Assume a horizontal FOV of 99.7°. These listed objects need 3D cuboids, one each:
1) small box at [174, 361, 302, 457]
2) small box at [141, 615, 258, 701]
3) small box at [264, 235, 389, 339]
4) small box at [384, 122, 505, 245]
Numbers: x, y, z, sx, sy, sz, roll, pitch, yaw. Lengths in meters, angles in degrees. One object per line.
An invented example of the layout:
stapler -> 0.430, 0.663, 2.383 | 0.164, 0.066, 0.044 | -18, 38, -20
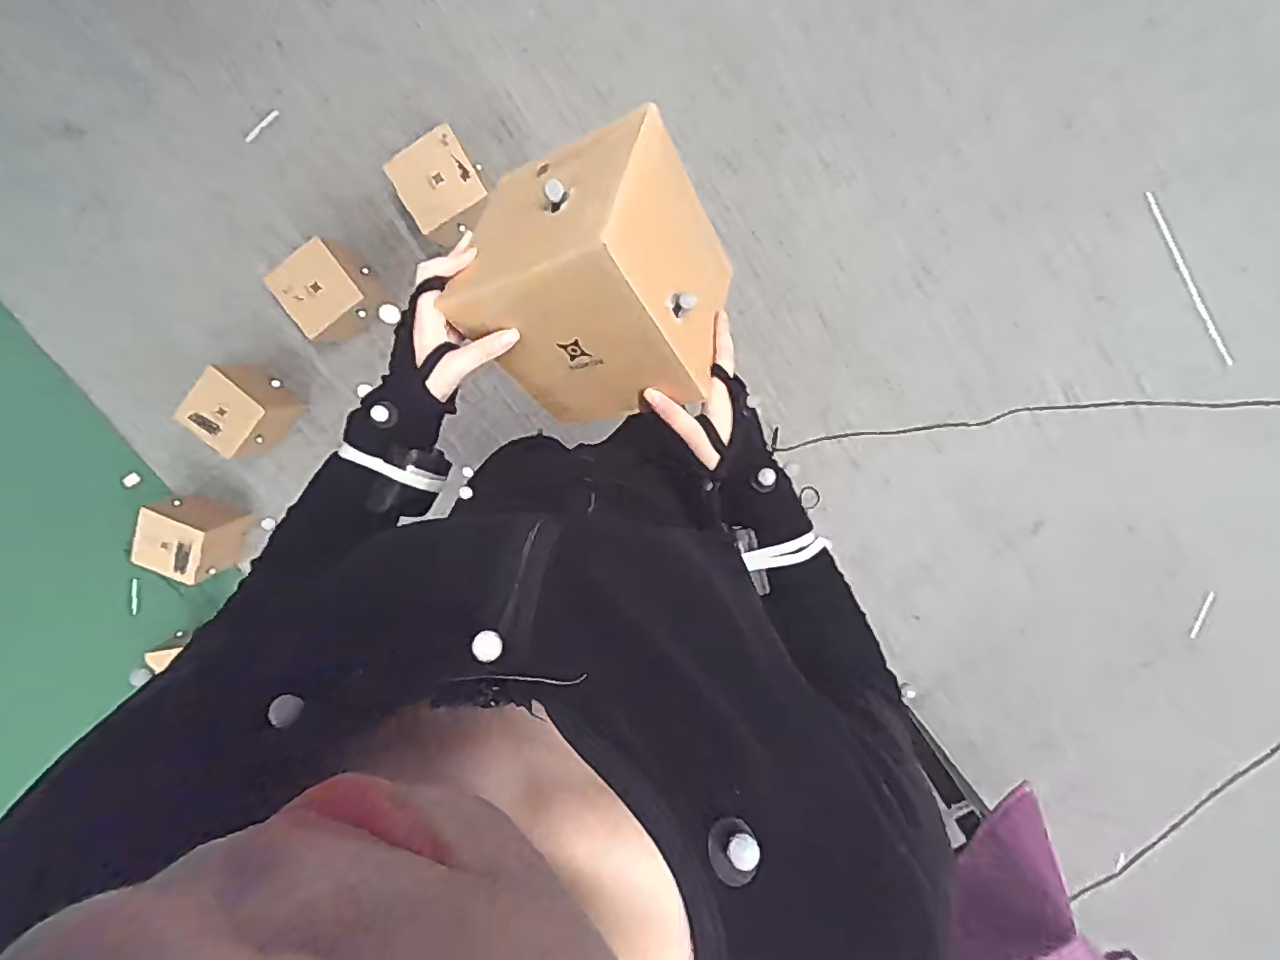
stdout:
small box -> -1.023, -0.187, 1.393 | 0.168, 0.176, 0.179 | 43, 101, -8
small box -> -1.276, 0.514, 1.577 | 0.179, 0.176, 0.168 | -10, 103, 5
small box -> -0.745, -0.461, 1.316 | 0.179, 0.176, 0.168 | -33, 100, 9
small box -> -0.442, -0.673, 1.253 | 0.179, 0.176, 0.168 | -28, 102, 9
